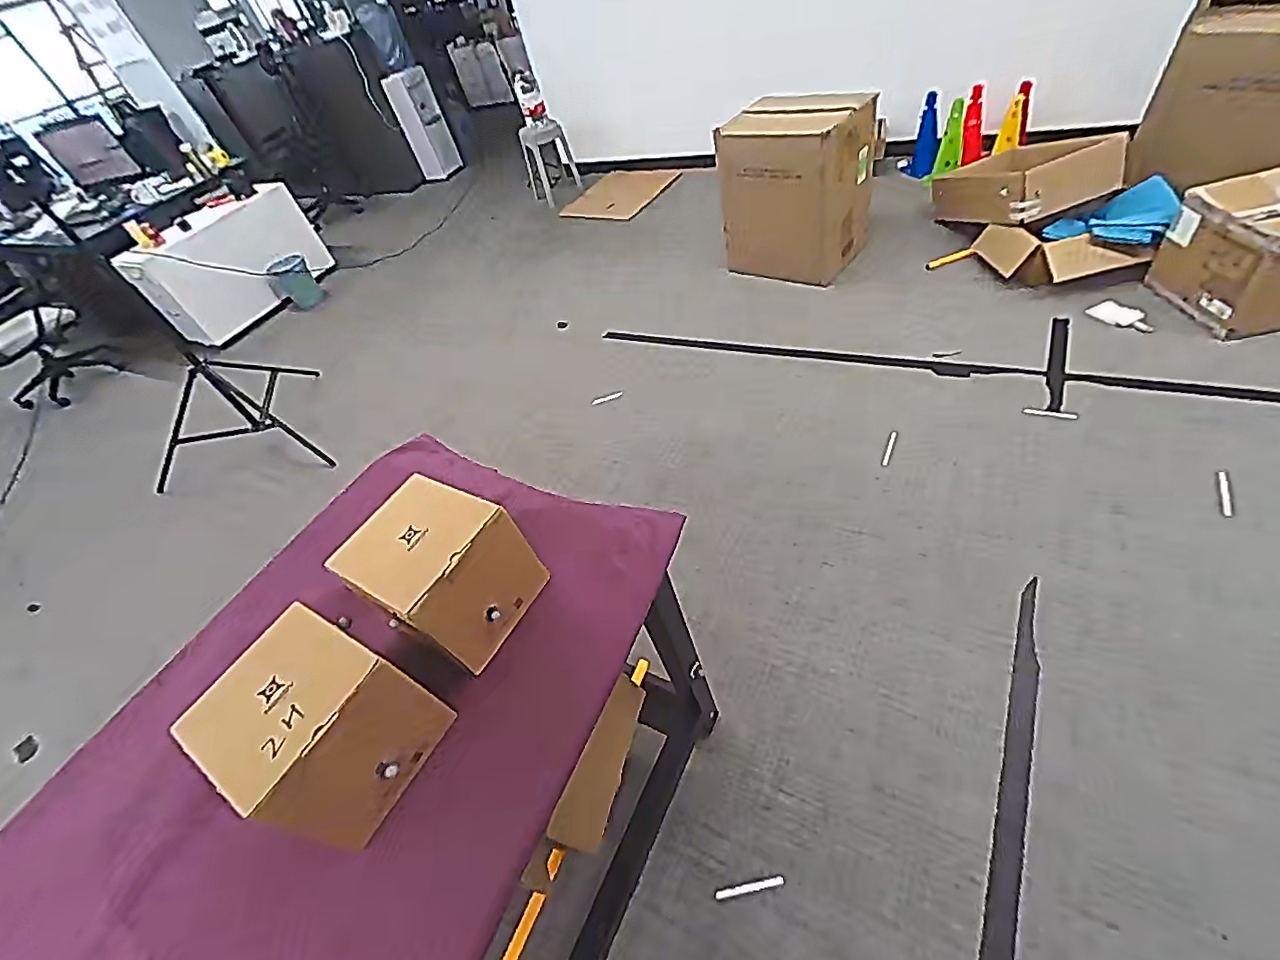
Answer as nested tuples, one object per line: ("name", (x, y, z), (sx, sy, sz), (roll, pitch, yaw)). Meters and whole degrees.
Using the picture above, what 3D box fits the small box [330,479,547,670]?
("small box", (-0.260, 0.128, 0.730), (0.179, 0.176, 0.168), (16, 55, 30))

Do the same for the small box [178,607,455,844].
("small box", (-0.355, 0.281, 0.619), (0.179, 0.176, 0.168), (16, 55, 30))
